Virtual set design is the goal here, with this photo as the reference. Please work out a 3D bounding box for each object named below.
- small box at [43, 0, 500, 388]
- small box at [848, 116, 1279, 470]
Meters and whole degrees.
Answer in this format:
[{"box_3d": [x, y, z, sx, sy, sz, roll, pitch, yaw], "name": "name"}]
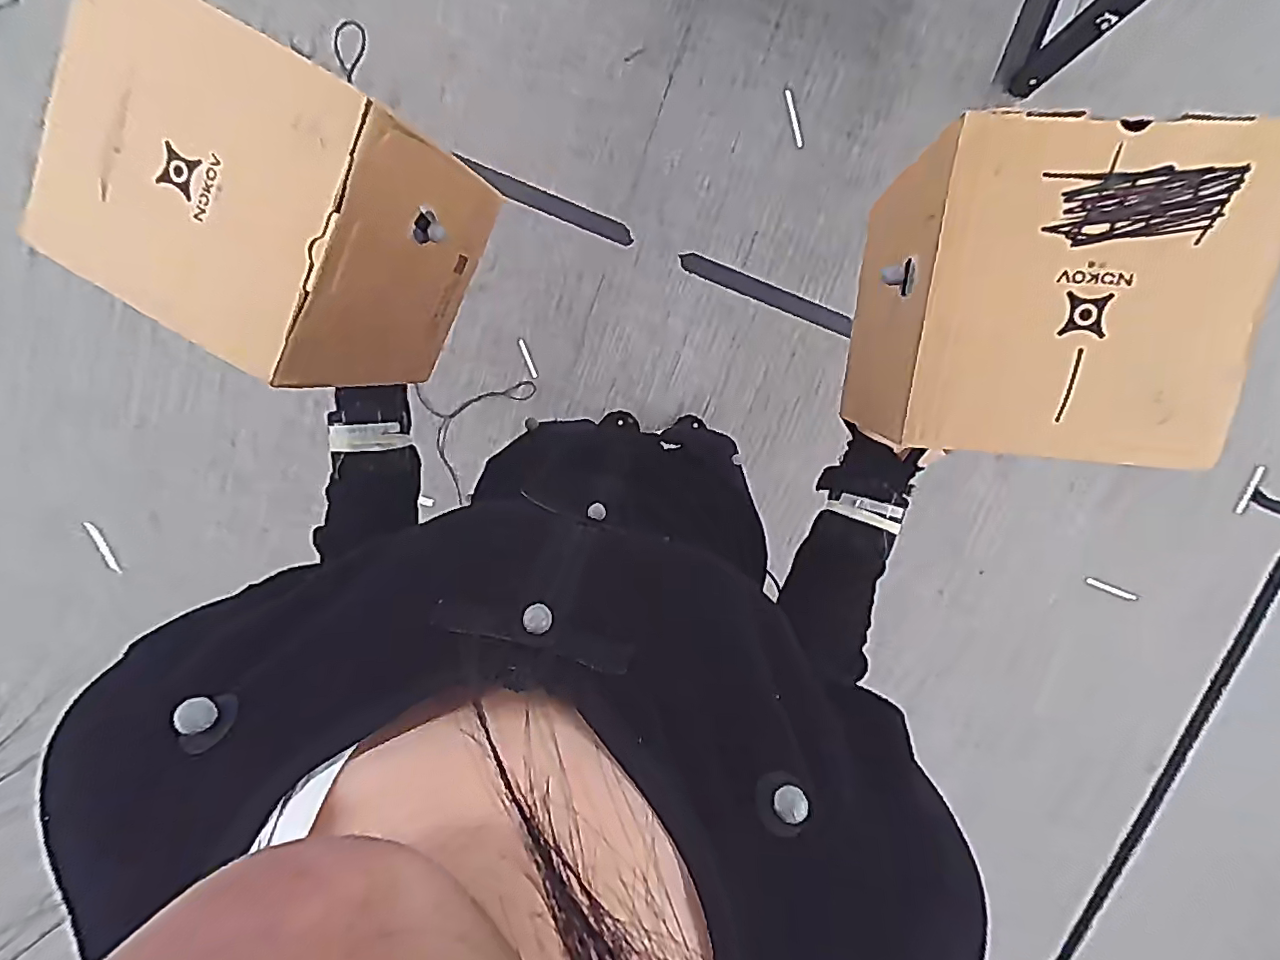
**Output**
[{"box_3d": [-0.226, -0.179, 0.373, 0.179, 0.176, 0.168, 30, 103, 3], "name": "small box"}, {"box_3d": [0.253, -0.114, 0.368, 0.168, 0.176, 0.179, 5, 103, 7], "name": "small box"}]
